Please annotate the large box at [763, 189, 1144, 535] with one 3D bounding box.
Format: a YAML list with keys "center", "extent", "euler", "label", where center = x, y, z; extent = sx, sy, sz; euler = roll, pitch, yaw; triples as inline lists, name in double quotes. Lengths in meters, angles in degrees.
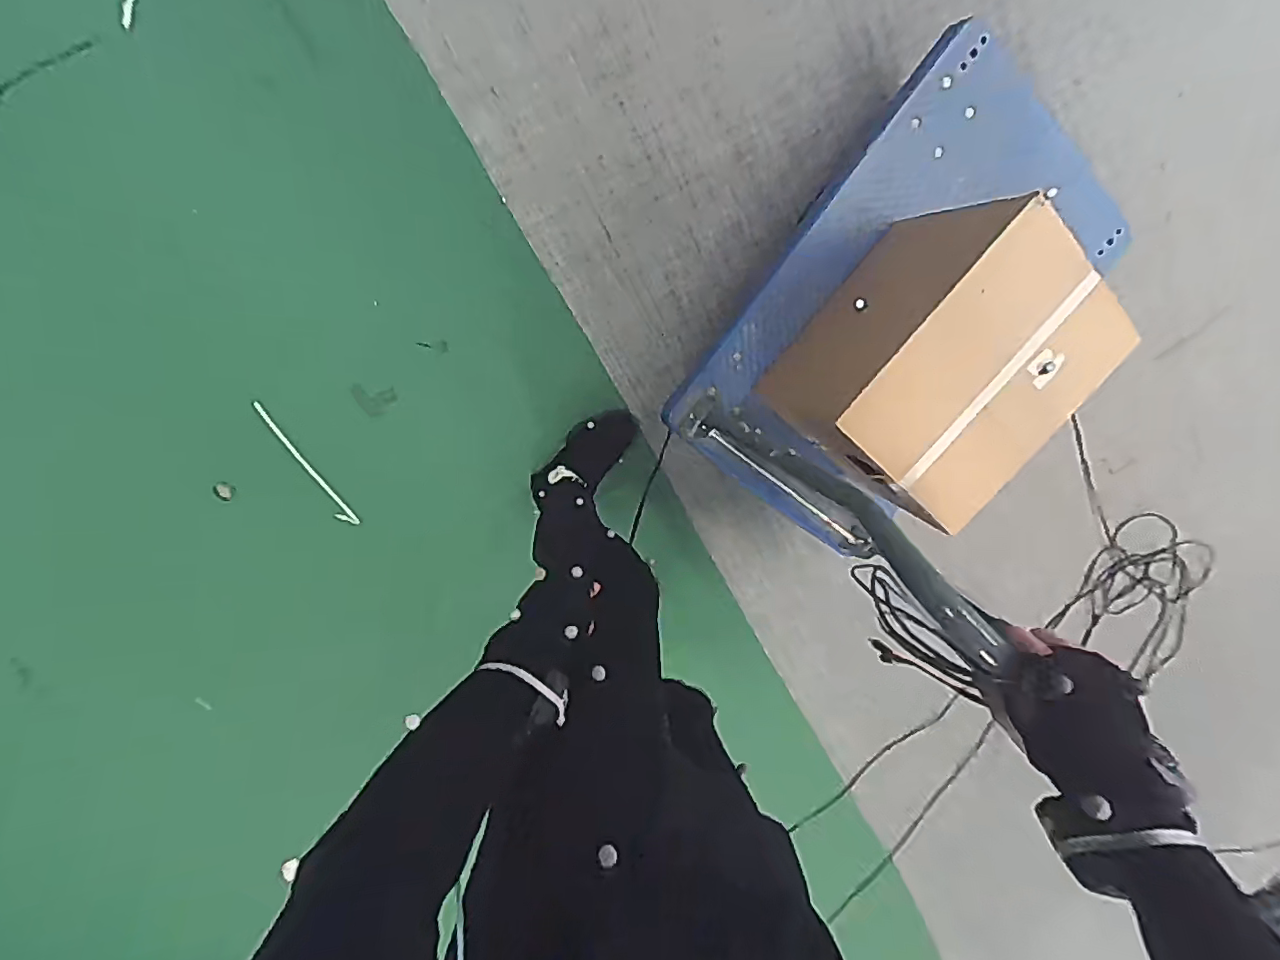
- center: [0.492, -0.190, 0.922]
  extent: [0.320, 0.320, 0.408]
  euler: [37, 97, -21]
  label: "large box"
